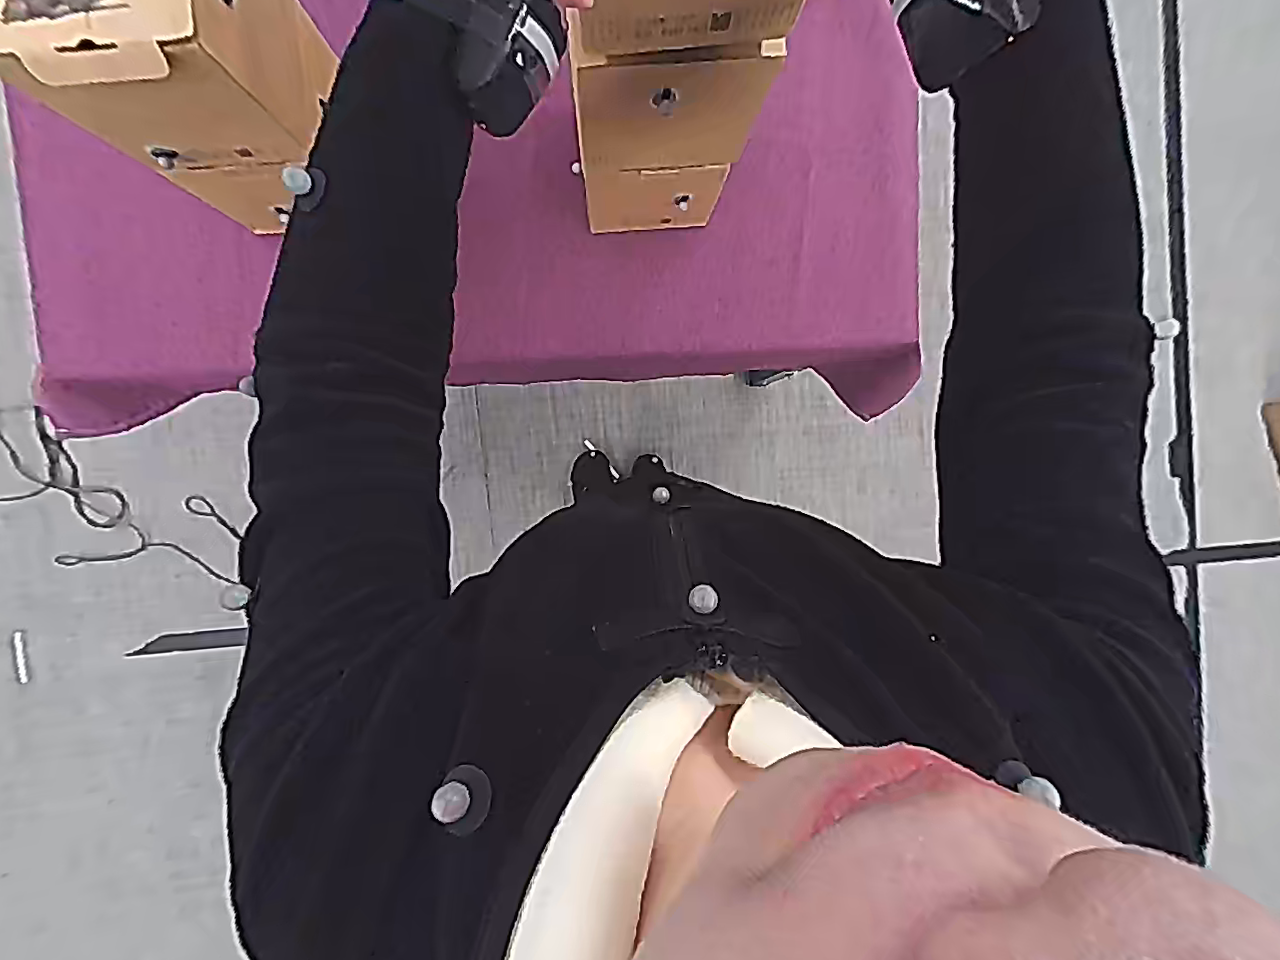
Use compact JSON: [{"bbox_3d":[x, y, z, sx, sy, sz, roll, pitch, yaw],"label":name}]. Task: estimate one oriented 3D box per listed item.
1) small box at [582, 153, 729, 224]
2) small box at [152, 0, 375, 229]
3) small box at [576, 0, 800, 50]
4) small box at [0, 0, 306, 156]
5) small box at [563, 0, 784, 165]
[{"bbox_3d":[0.009,-0.435,0.671,0.168,0.176,0.179,-5,93,-4],"label":"small box"},{"bbox_3d":[-0.439,-0.424,0.644,0.168,0.176,0.179,-5,95,-4],"label":"small box"},{"bbox_3d":[0.030,-0.421,0.336,0.168,0.176,0.179,-7,88,-3],"label":"small box"},{"bbox_3d":[-0.429,-0.414,0.480,0.168,0.176,0.179,-7,94,-4],"label":"small box"},{"bbox_3d":[0.019,-0.421,0.507,0.179,0.176,0.168,-6,95,-4],"label":"small box"}]
